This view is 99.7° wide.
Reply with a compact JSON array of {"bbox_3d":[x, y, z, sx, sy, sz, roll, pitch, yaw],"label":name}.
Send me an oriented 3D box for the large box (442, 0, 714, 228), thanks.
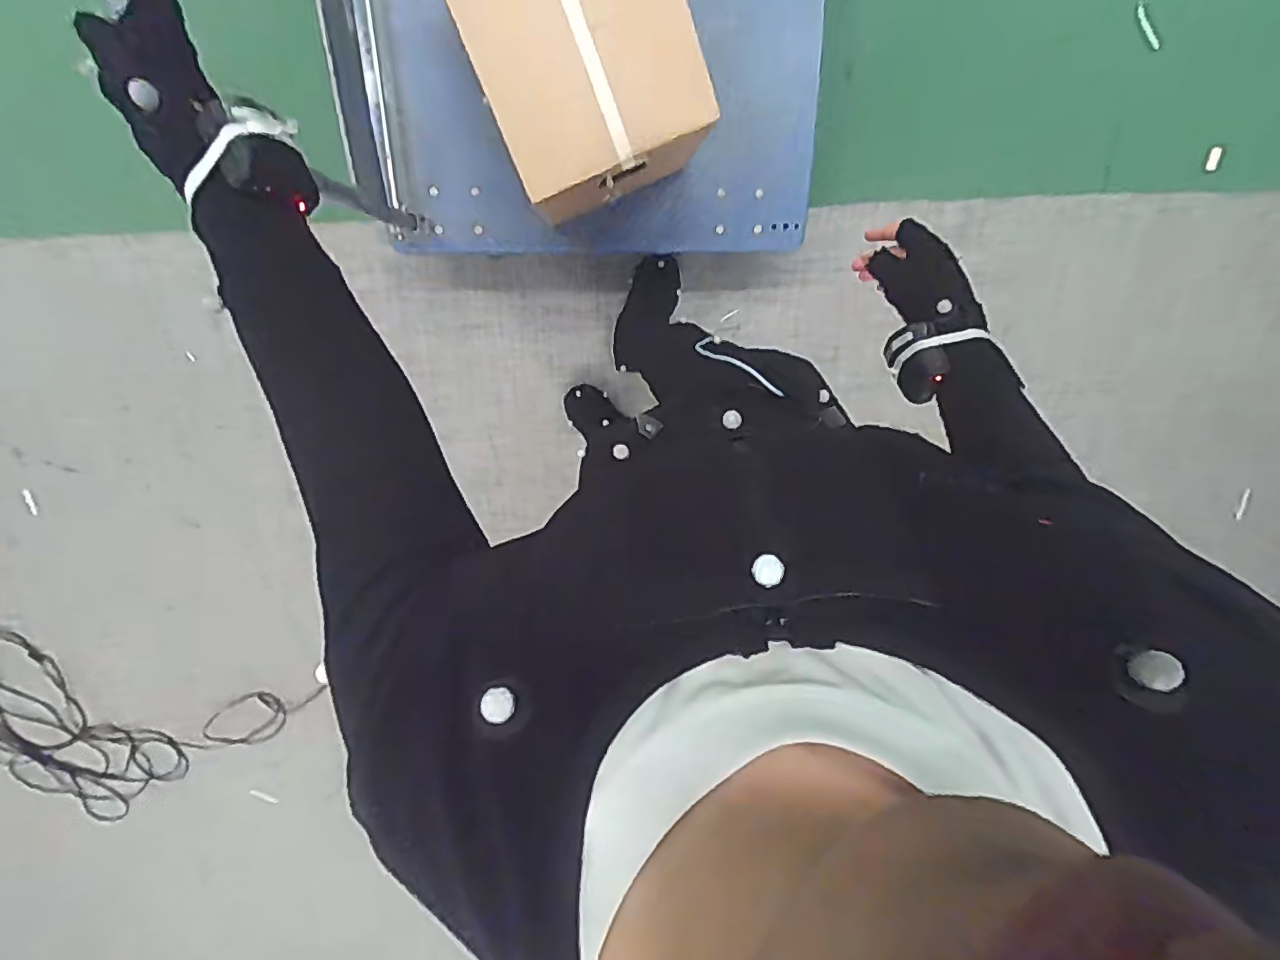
[{"bbox_3d":[-0.106,-0.701,0.907,0.320,0.320,0.408,-22,108,4],"label":"large box"}]
